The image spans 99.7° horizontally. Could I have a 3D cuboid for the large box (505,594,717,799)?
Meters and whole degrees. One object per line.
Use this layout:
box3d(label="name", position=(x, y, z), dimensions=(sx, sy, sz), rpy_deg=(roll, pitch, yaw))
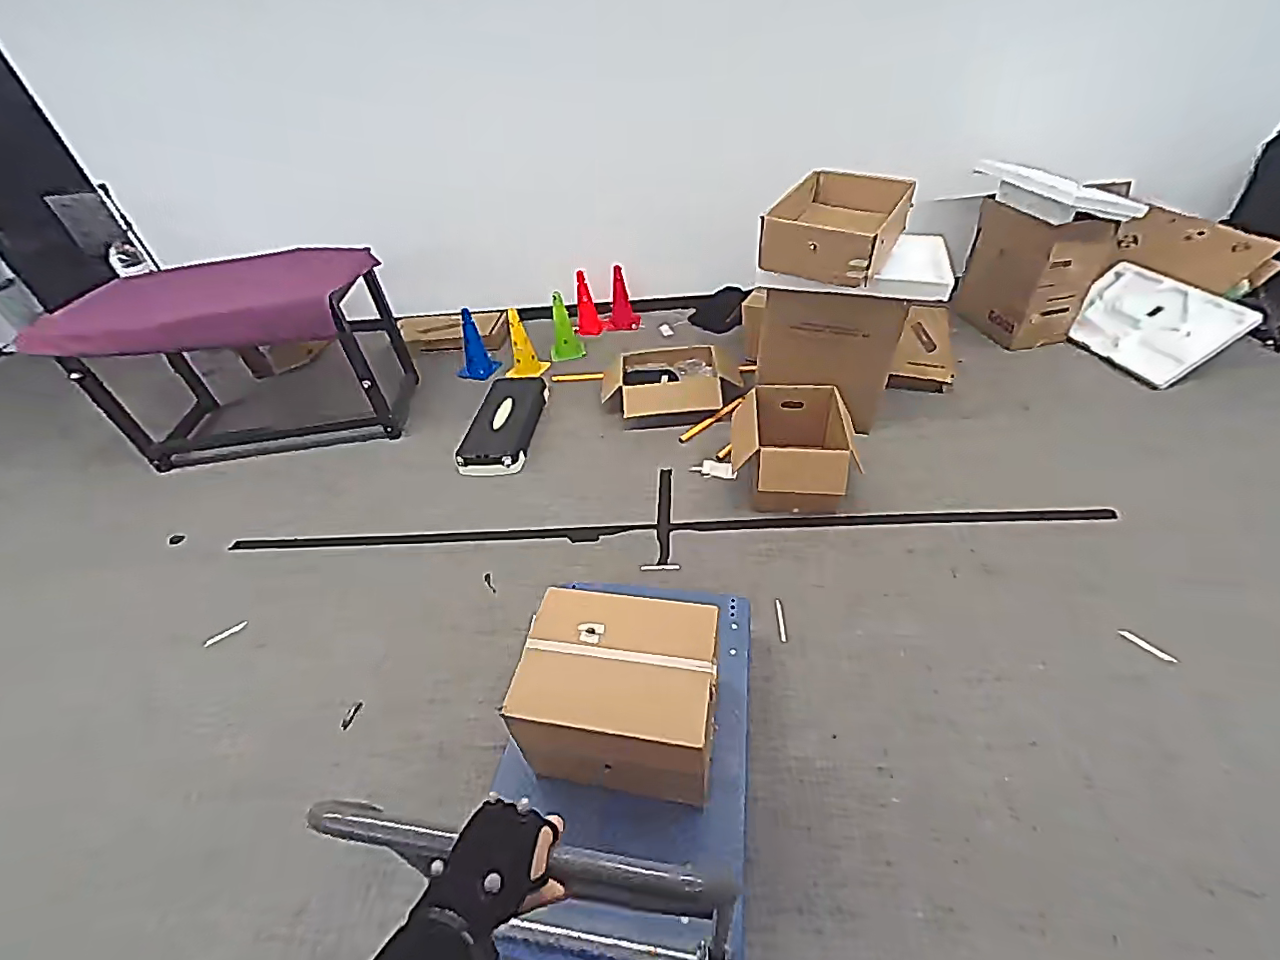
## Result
box3d(label="large box", position=(-0.033, 0.492, 1.242), dimensions=(0.408, 0.320, 0.320), rpy_deg=(3, 41, 12))
